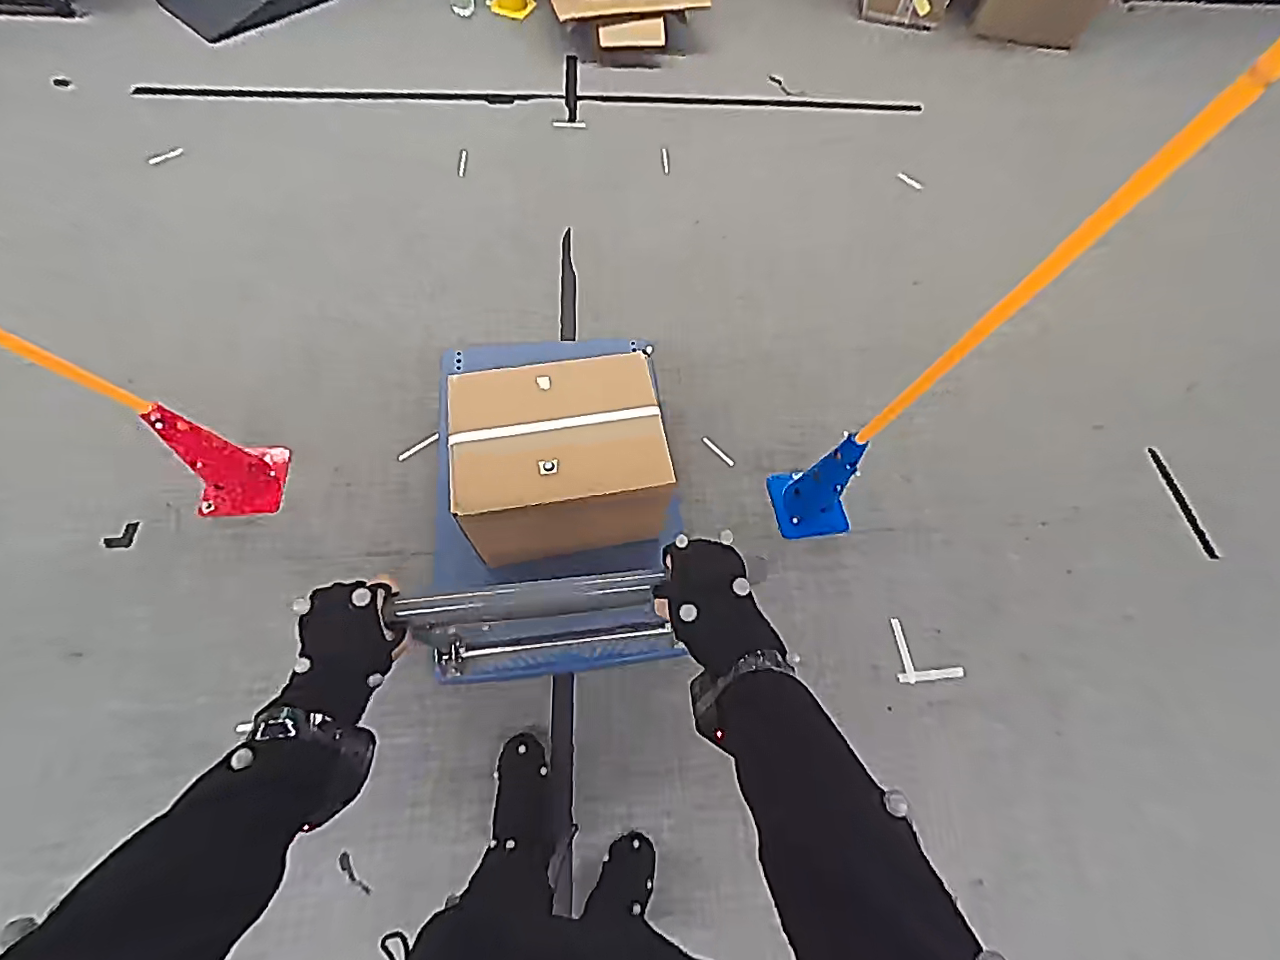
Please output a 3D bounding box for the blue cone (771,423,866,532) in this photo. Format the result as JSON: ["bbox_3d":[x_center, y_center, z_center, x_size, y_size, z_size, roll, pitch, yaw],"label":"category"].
[{"bbox_3d":[0.490,-0.020,1.391,0.193,0.380,0.192,-5,63,-7],"label":"blue cone"}]
